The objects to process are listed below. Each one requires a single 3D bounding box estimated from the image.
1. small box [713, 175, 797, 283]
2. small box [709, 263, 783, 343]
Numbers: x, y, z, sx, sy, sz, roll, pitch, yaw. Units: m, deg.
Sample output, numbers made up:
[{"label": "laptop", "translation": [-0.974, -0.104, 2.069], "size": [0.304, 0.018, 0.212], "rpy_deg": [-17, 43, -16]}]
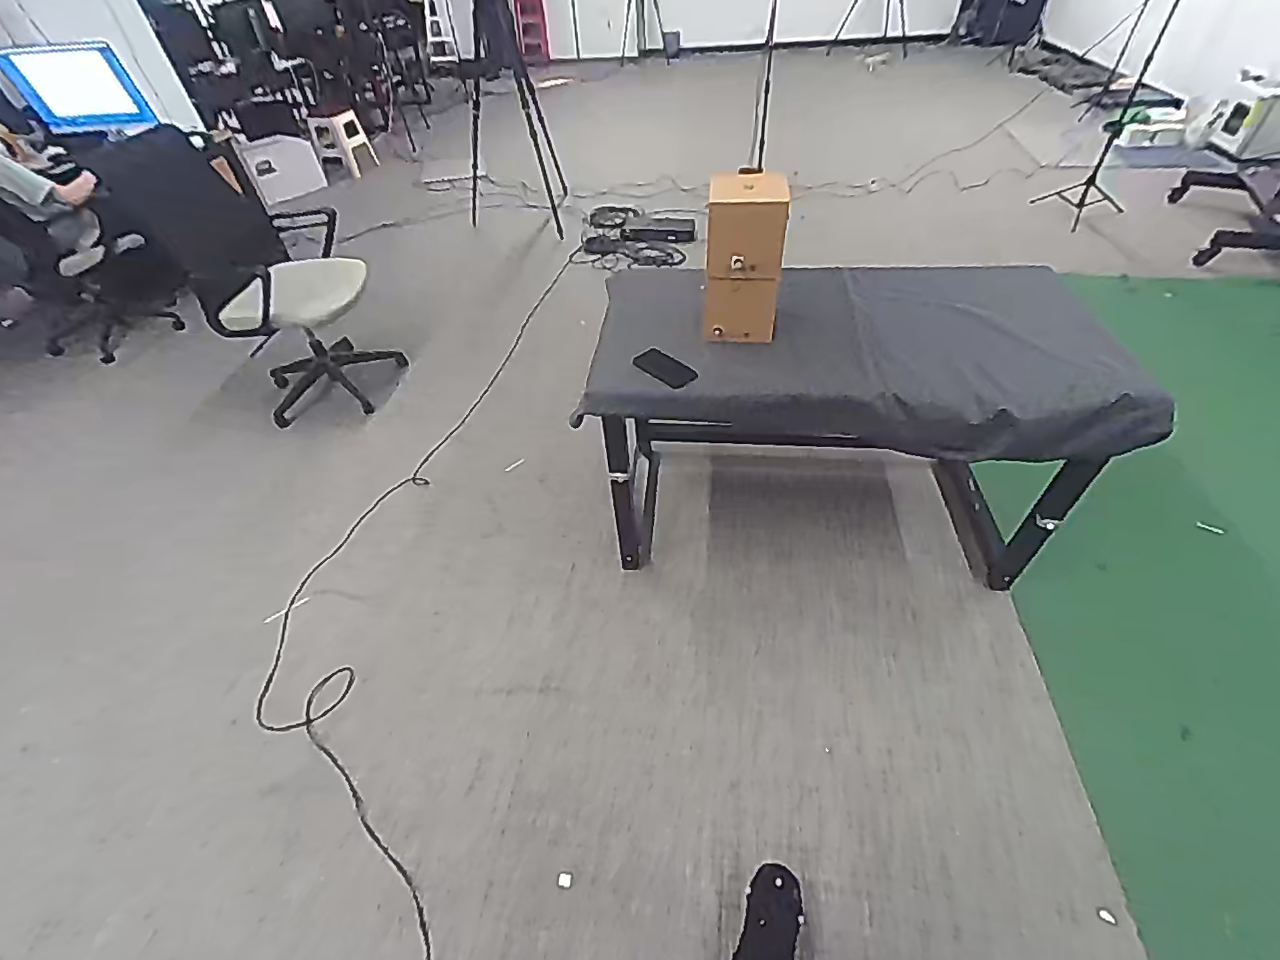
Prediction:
[{"label": "small box", "translation": [0.251, -0.560, 1.206], "size": [0.168, 0.176, 0.179], "rpy_deg": [3, 47, 8]}, {"label": "small box", "translation": [0.258, -0.452, 1.326], "size": [0.168, 0.176, 0.179], "rpy_deg": [4, 46, 8]}]
